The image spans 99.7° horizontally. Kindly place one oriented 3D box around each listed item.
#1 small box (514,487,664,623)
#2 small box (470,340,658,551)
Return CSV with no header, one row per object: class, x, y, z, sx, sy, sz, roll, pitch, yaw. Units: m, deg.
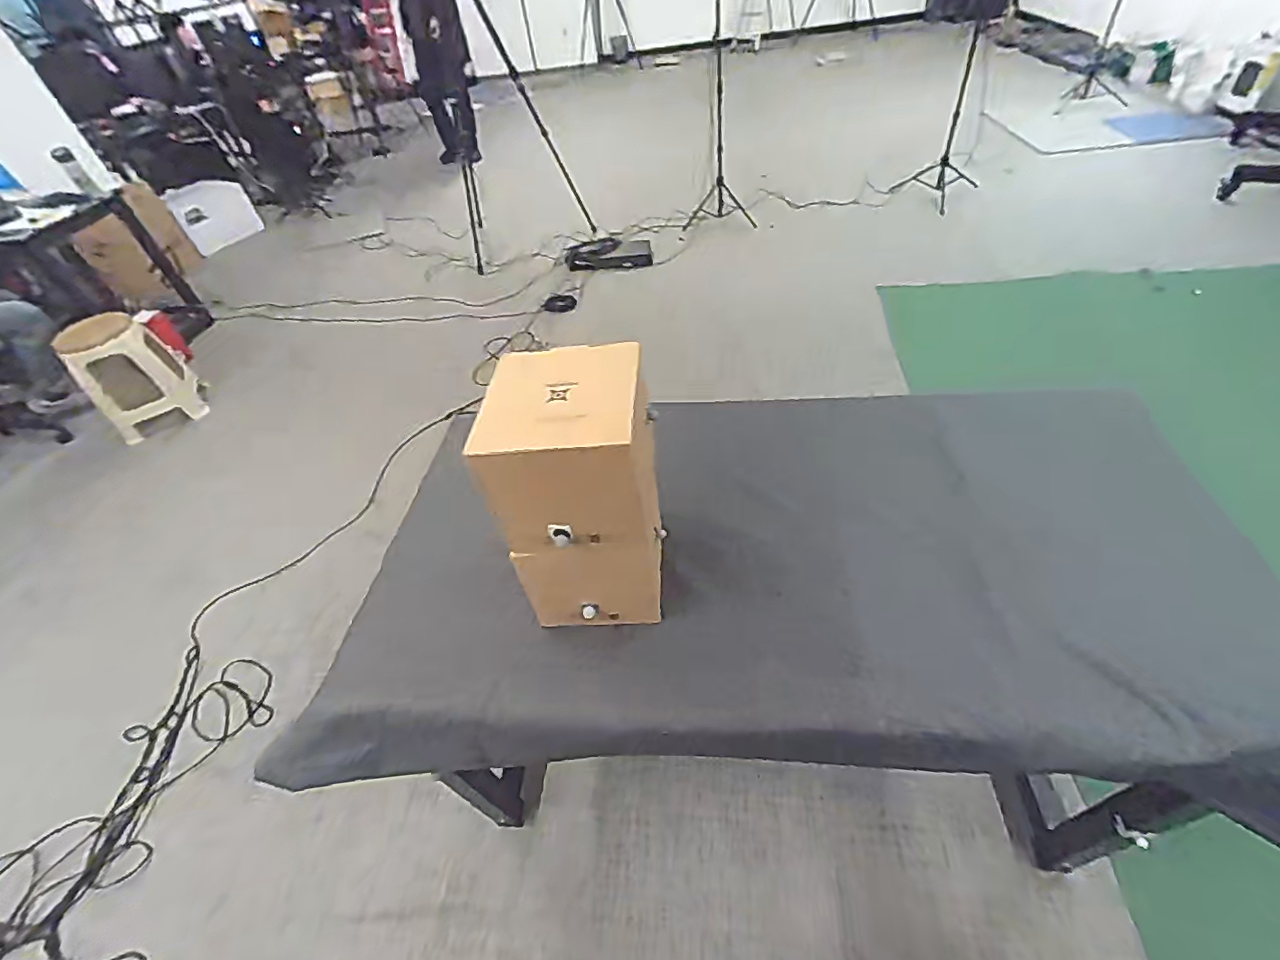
small box,-0.057,0.076,0.739,0.168,0.176,0.179,-3,46,6
small box,-0.070,-0.038,0.623,0.168,0.176,0.179,-4,46,7
